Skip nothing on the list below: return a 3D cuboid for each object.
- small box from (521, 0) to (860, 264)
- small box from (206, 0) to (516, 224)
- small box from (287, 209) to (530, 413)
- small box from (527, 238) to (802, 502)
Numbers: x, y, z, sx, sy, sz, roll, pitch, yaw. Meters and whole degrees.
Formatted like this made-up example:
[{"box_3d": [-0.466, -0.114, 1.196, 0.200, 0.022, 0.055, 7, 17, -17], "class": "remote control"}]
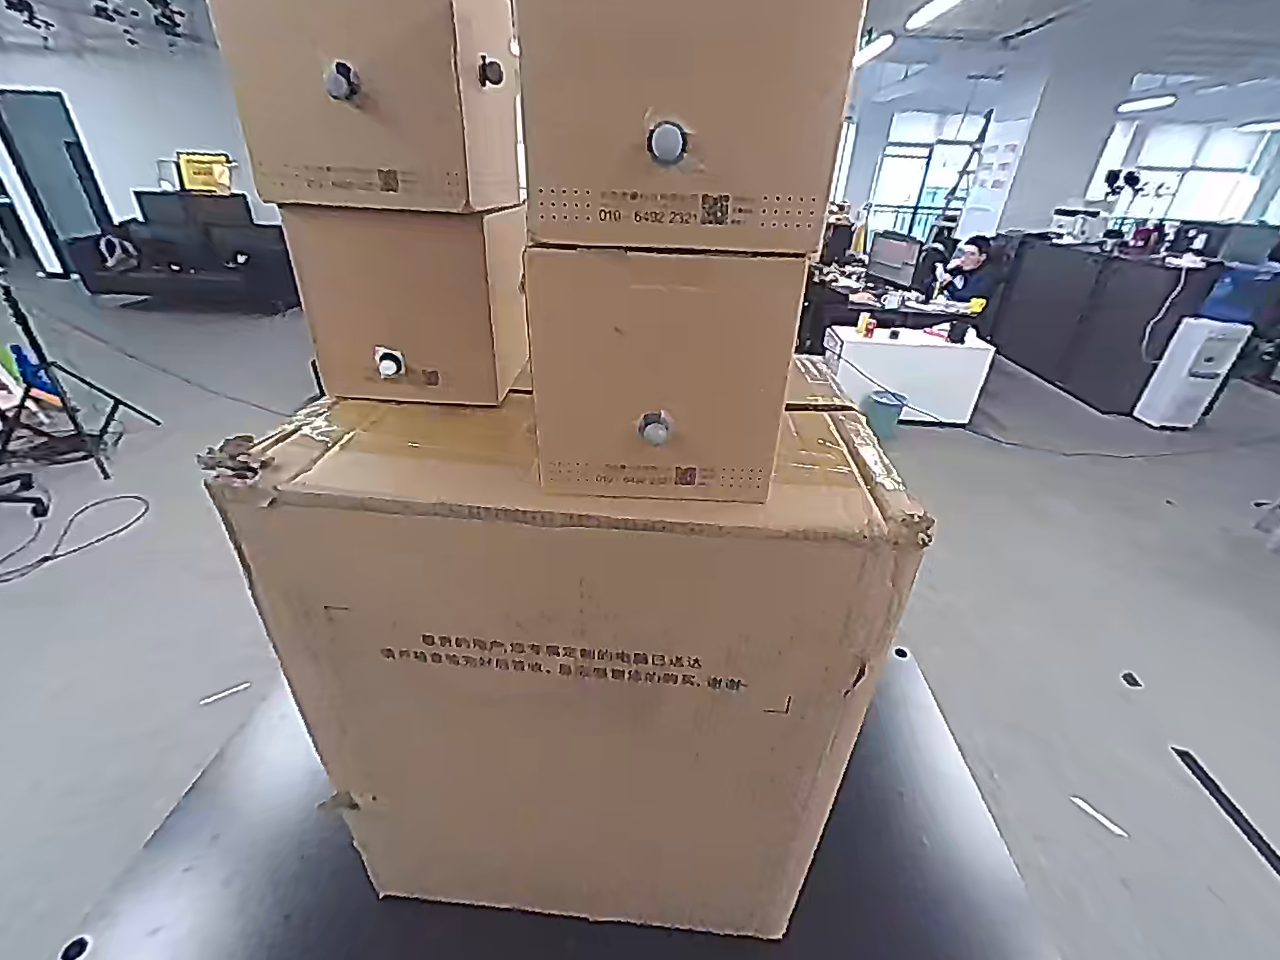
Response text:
[{"box_3d": [0.024, -0.240, 0.340, 0.168, 0.176, 0.179, 2, 30, 2], "class": "small box"}, {"box_3d": [-0.205, -0.315, 0.454, 0.168, 0.176, 0.179, 2, 30, 0], "class": "small box"}, {"box_3d": [-0.208, -0.179, 0.548, 0.168, 0.176, 0.179, 1, 30, -1], "class": "small box"}, {"box_3d": [0.015, -0.100, 0.426, 0.168, 0.176, 0.179, 2, 30, 2], "class": "small box"}]
